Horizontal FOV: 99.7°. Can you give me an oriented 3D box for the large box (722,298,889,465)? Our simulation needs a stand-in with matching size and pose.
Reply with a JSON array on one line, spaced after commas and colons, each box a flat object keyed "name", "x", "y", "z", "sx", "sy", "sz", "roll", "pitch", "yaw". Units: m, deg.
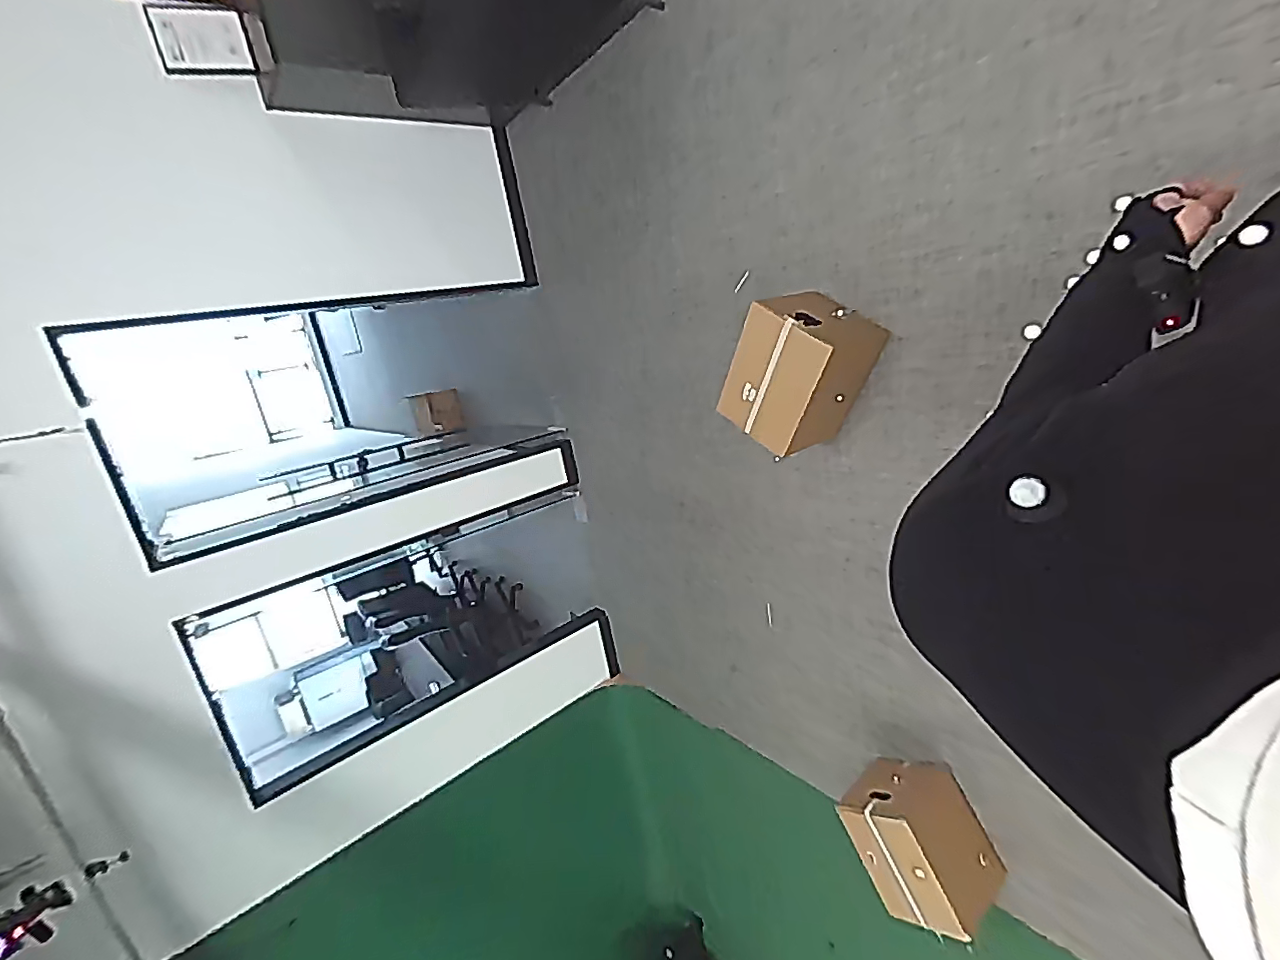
[{"name": "large box", "x": 0.526, "y": -0.330, "z": 1.761, "sx": 0.320, "sy": 0.320, "sz": 0.408, "roll": 45, "pitch": 139, "yaw": 32}]
